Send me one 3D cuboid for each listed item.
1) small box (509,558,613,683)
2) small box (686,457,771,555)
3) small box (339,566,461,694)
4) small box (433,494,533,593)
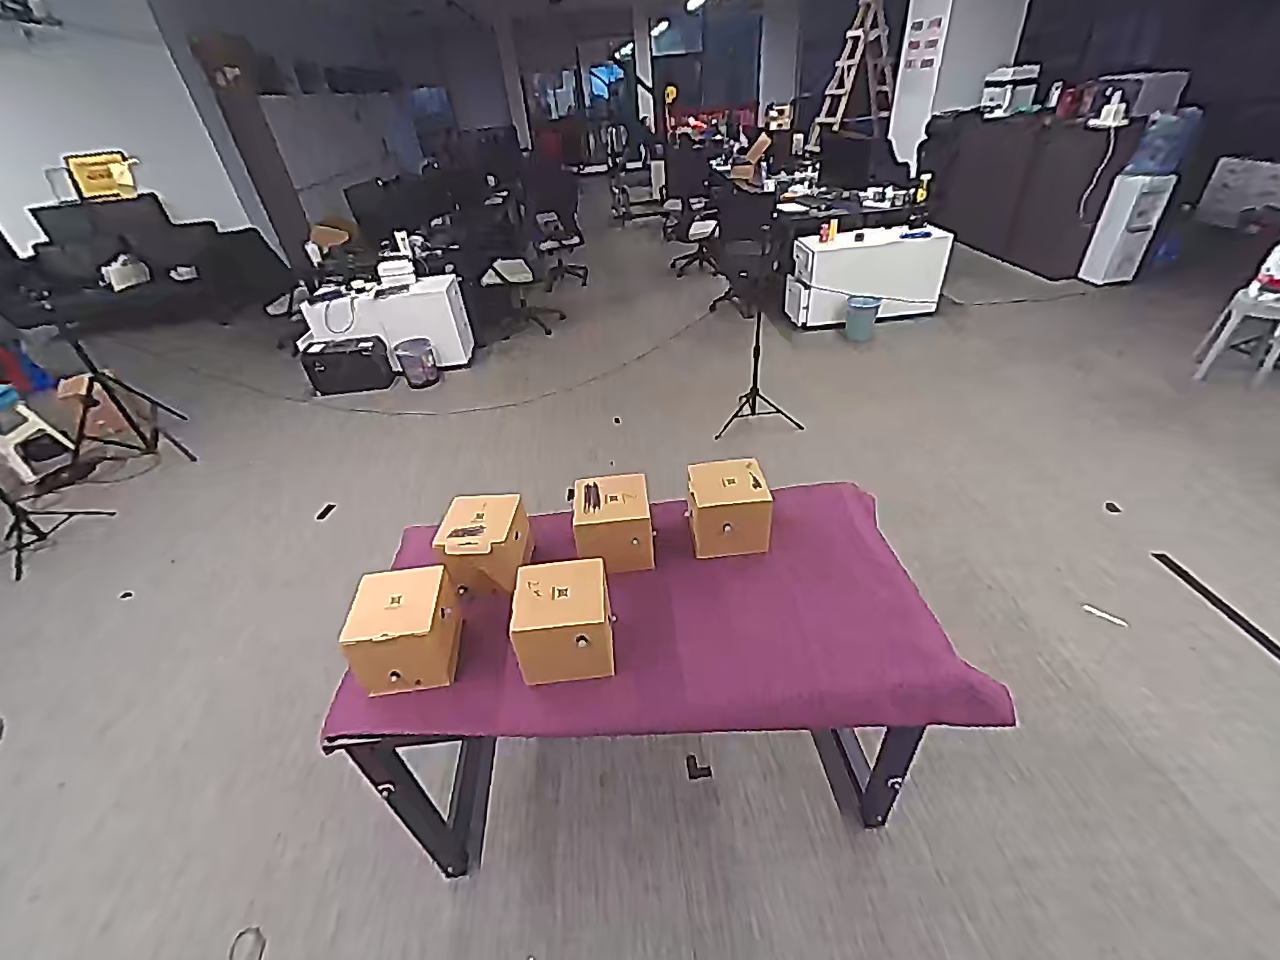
[{"bbox_3d":[-0.147,0.280,1.076,0.179,0.176,0.168,-7,36,0],"label":"small box"},{"bbox_3d":[0.212,0.066,1.314,0.179,0.176,0.168,-7,39,0],"label":"small box"},{"bbox_3d":[-0.468,0.301,1.090,0.168,0.176,0.179,-7,37,-5],"label":"small box"},{"bbox_3d":[-0.359,0.153,1.277,0.168,0.176,0.179,-2,37,4],"label":"small box"}]
